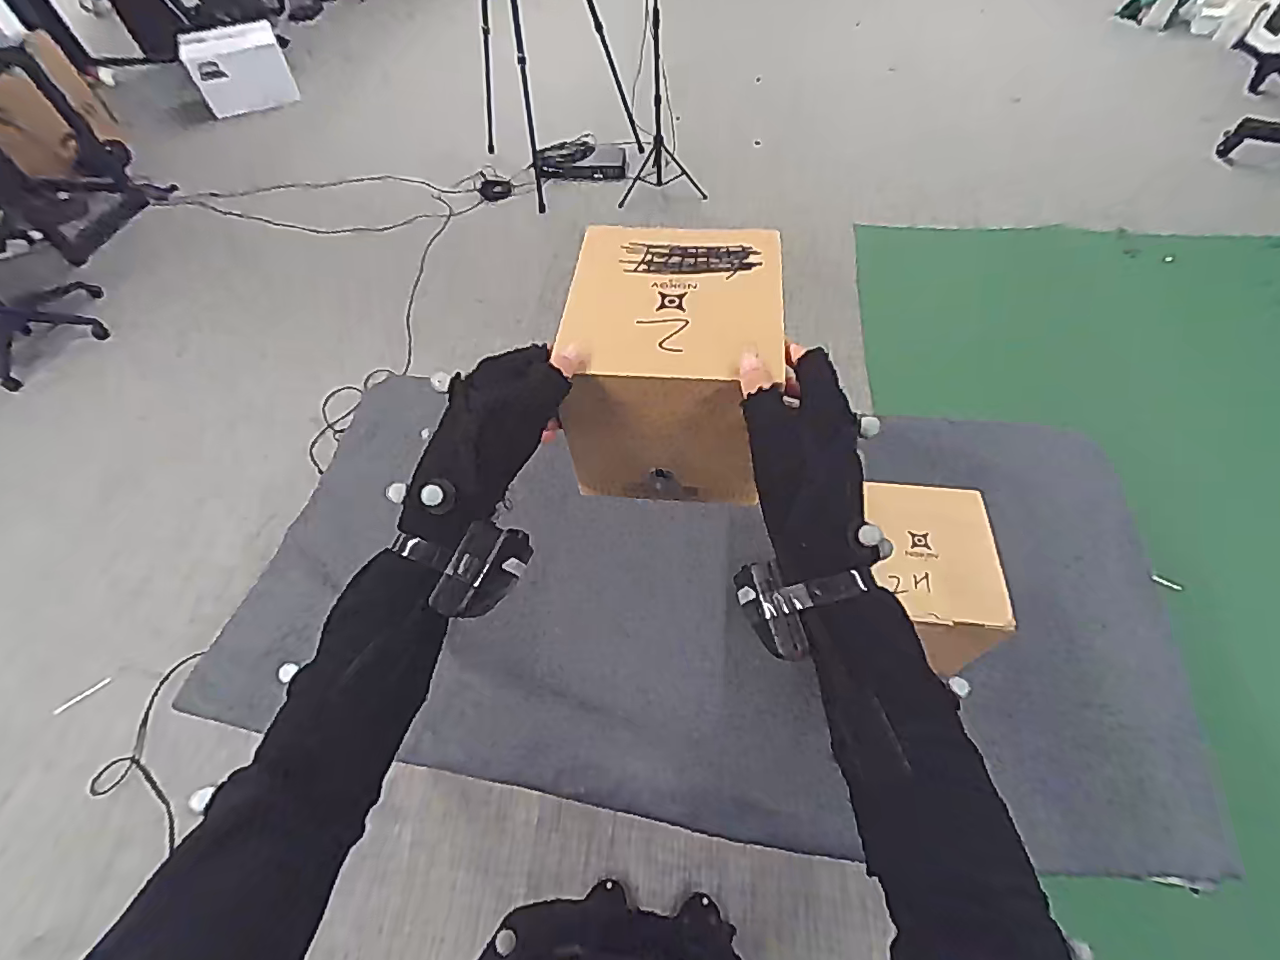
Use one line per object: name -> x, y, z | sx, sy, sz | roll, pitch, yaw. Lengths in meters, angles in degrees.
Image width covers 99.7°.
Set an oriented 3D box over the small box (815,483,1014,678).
small box -> 0.321, 0.127, 0.678 | 0.168, 0.176, 0.179 | 5, 54, 8
